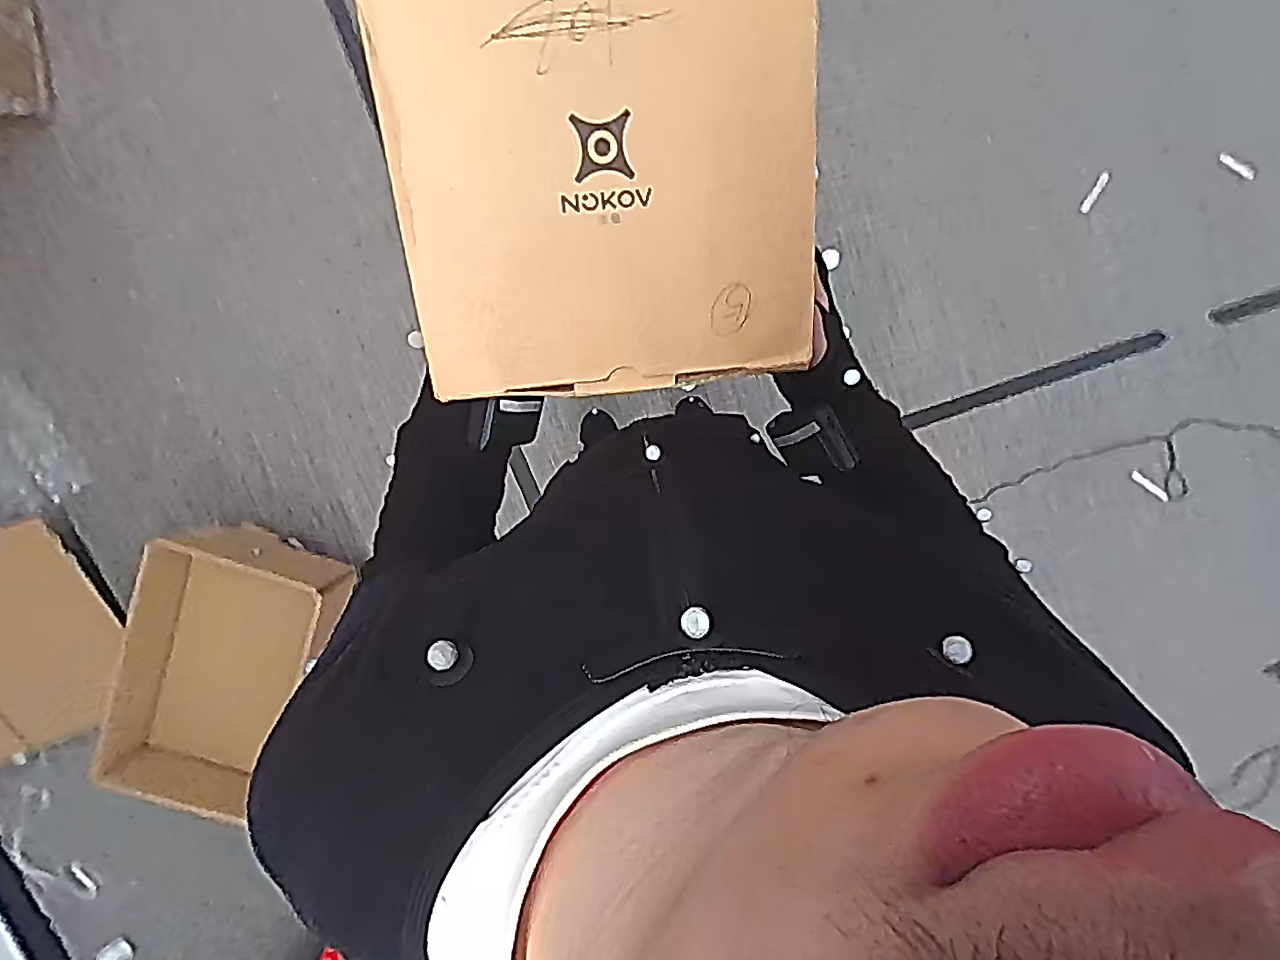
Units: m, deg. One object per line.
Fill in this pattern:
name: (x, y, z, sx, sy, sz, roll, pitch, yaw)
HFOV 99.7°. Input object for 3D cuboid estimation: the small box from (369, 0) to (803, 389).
small box: (-0.018, -0.154, 0.296, 0.168, 0.176, 0.179, -6, 107, -1)
